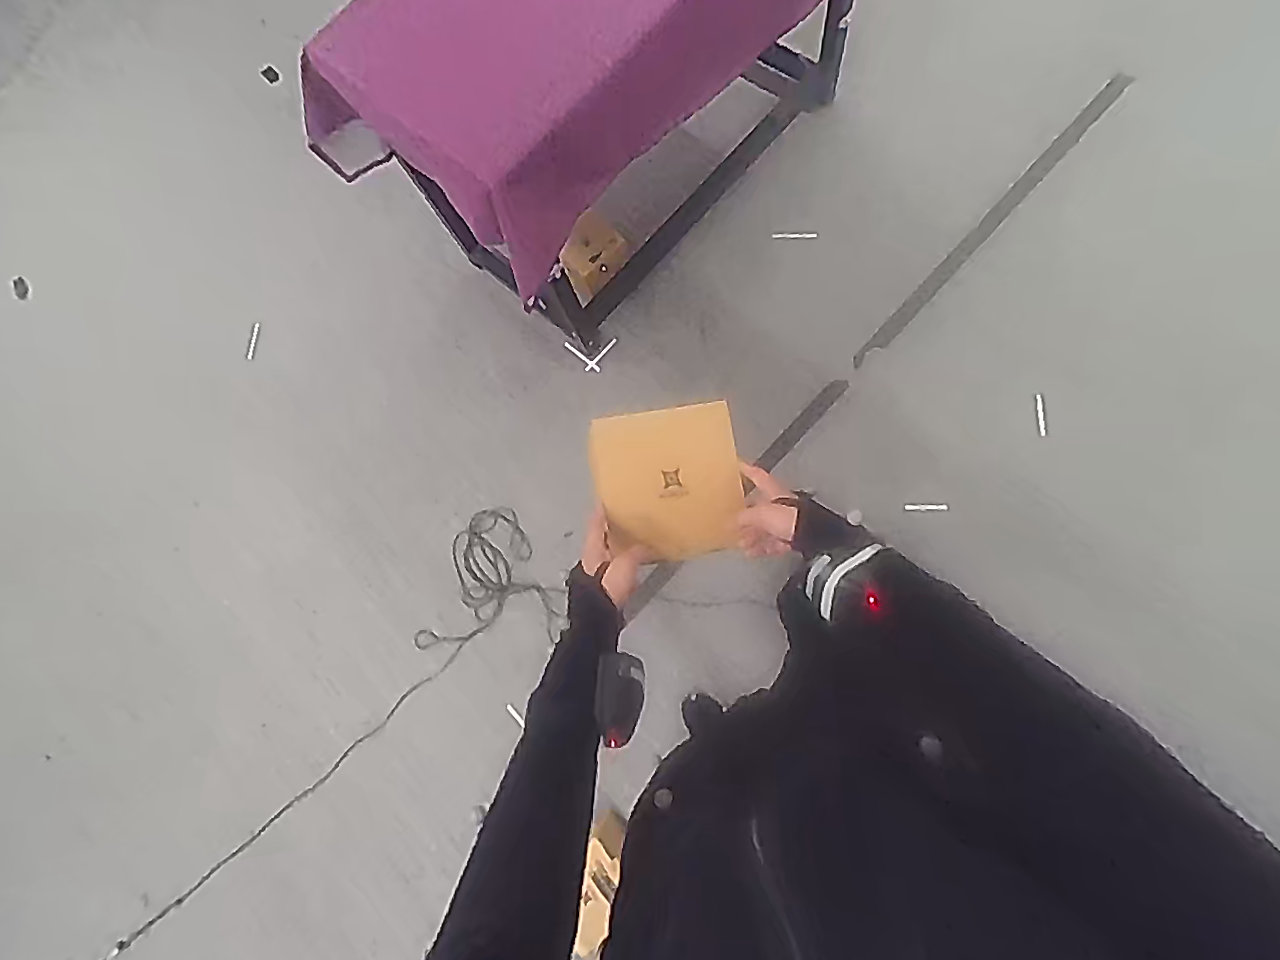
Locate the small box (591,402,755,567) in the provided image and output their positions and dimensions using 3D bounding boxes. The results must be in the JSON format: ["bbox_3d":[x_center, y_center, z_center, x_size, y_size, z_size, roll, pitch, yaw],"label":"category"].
[{"bbox_3d":[0.031,0.011,0.701,0.168,0.176,0.179,-9,86,-8],"label":"small box"}]
